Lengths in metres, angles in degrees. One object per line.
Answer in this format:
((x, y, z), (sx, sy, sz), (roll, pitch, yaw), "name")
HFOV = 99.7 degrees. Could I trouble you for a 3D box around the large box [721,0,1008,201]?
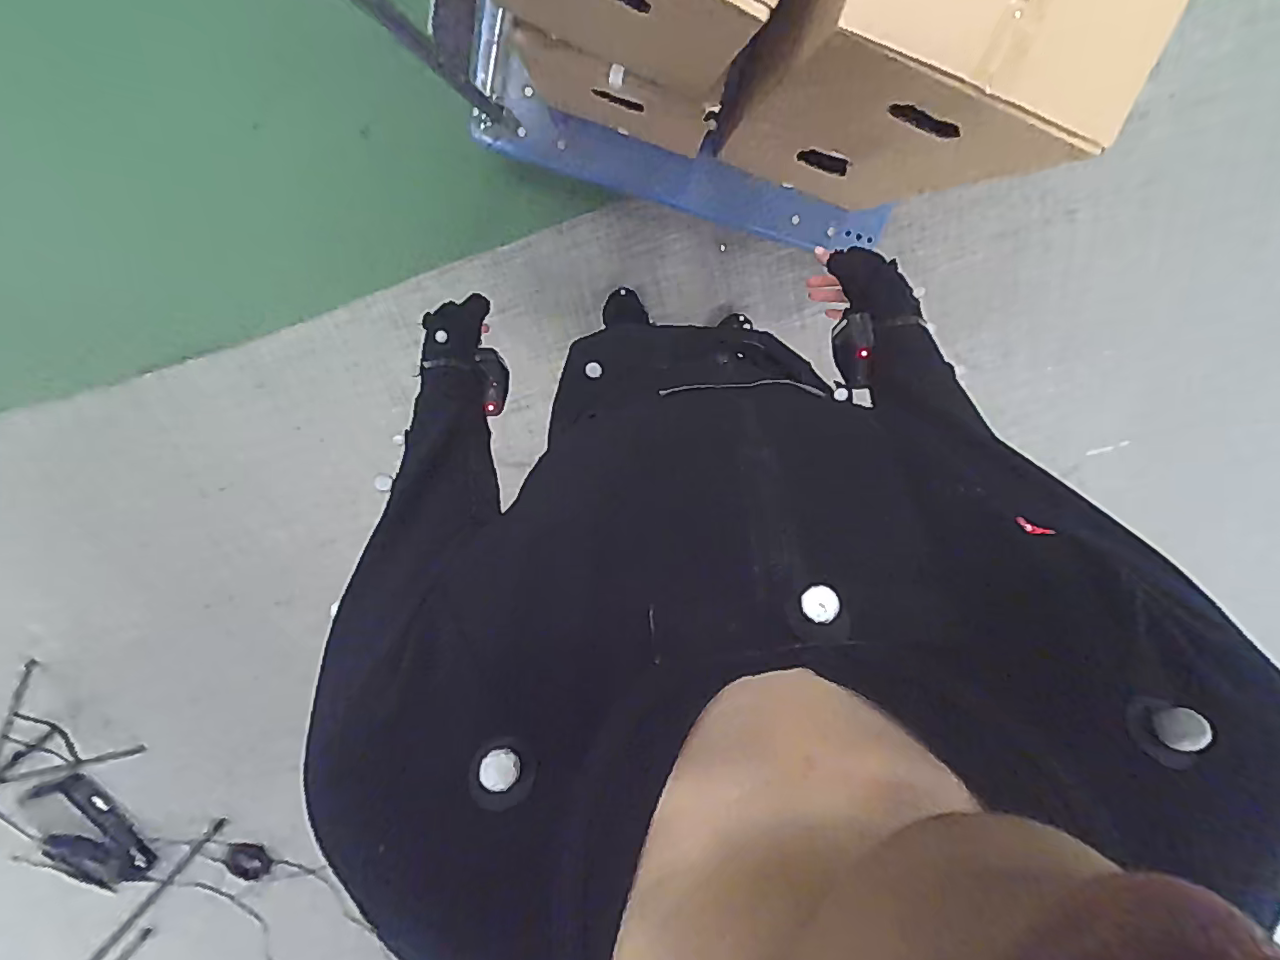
((0.355, -0.729, 0.884), (0.320, 0.320, 0.408), (16, 112, -4), "large box")
